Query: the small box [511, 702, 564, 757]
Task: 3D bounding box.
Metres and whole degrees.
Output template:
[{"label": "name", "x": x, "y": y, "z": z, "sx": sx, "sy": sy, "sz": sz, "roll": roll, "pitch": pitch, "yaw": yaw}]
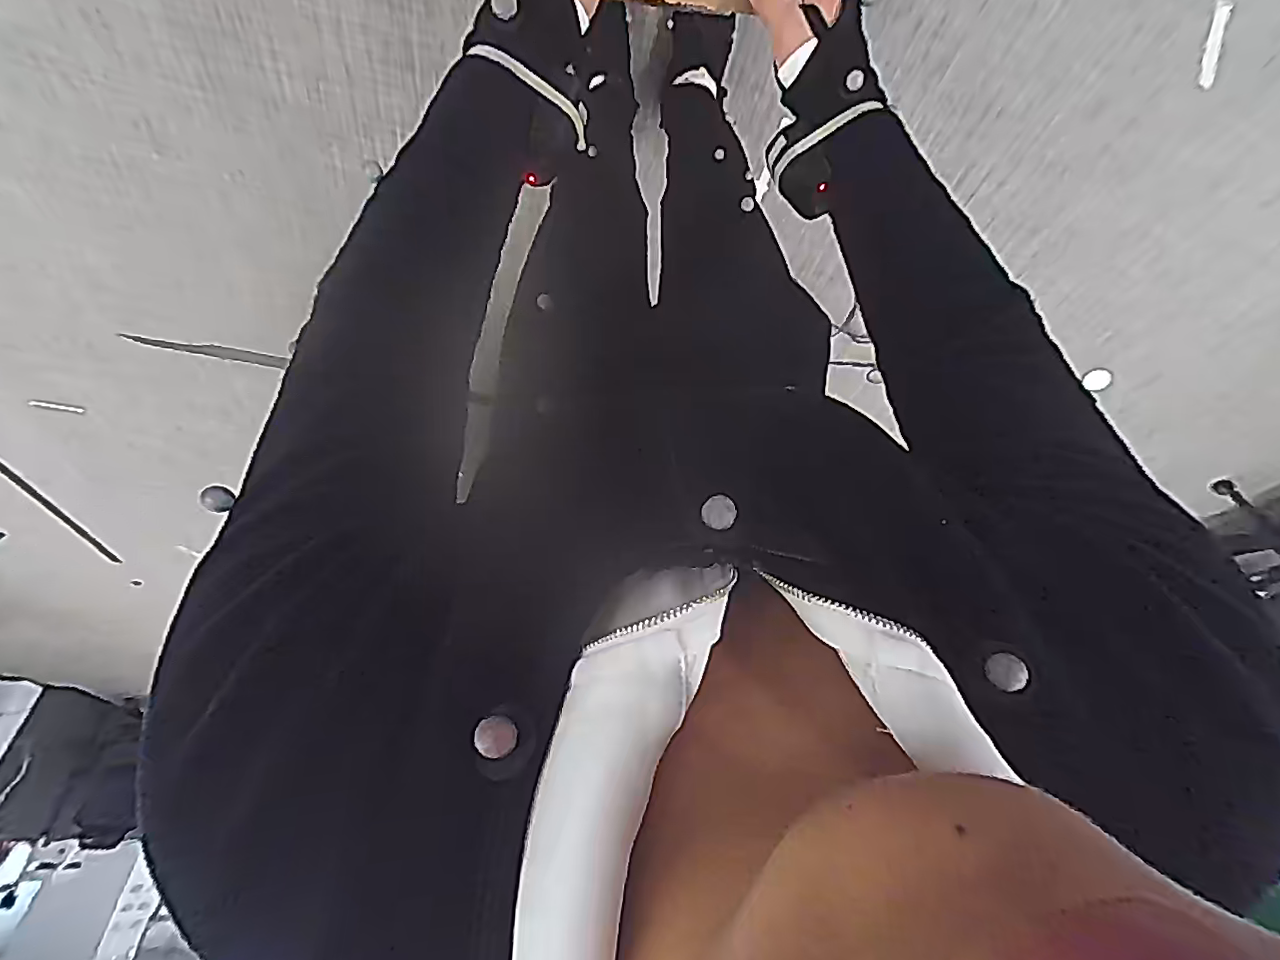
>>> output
[{"label": "small box", "x": -0.394, "y": 0.962, "z": 2.082, "sx": 0.179, "sy": 0.176, "sz": 0.168, "roll": 9, "pitch": 144, "yaw": -12}]
